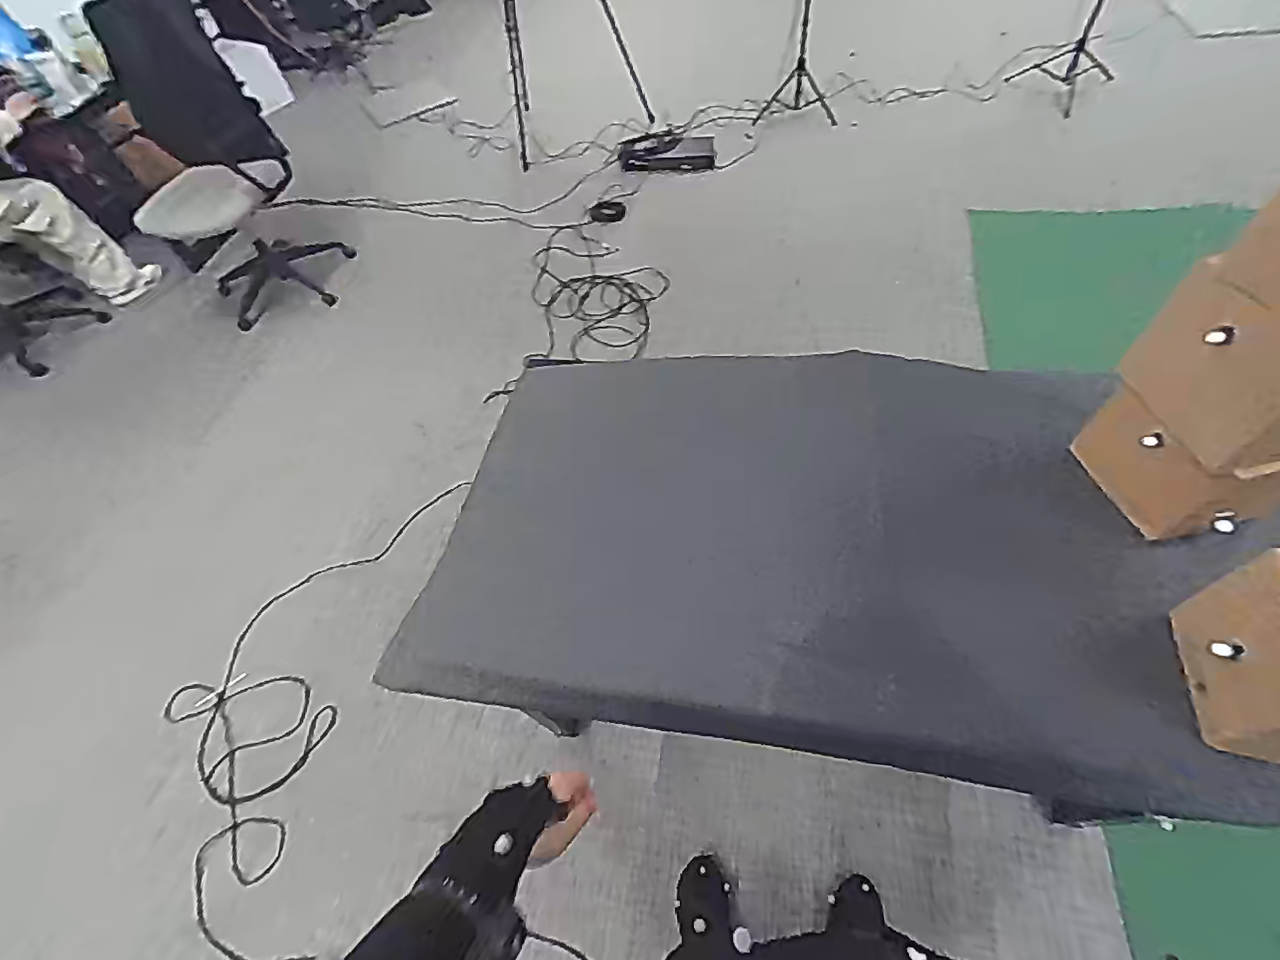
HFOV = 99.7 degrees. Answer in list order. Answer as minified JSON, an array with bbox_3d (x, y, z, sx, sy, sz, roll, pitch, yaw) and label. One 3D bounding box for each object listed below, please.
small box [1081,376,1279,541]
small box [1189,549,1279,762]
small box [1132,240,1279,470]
[{"bbox_3d":[0.743,-0.047,0.708,0.168,0.176,0.179,-15,57,2],"label":"small box"},{"bbox_3d":[0.717,0.194,0.546,0.179,0.176,0.168,9,55,16],"label":"small box"},{"bbox_3d":[0.697,-0.138,0.577,0.168,0.176,0.179,-12,55,5],"label":"small box"}]
